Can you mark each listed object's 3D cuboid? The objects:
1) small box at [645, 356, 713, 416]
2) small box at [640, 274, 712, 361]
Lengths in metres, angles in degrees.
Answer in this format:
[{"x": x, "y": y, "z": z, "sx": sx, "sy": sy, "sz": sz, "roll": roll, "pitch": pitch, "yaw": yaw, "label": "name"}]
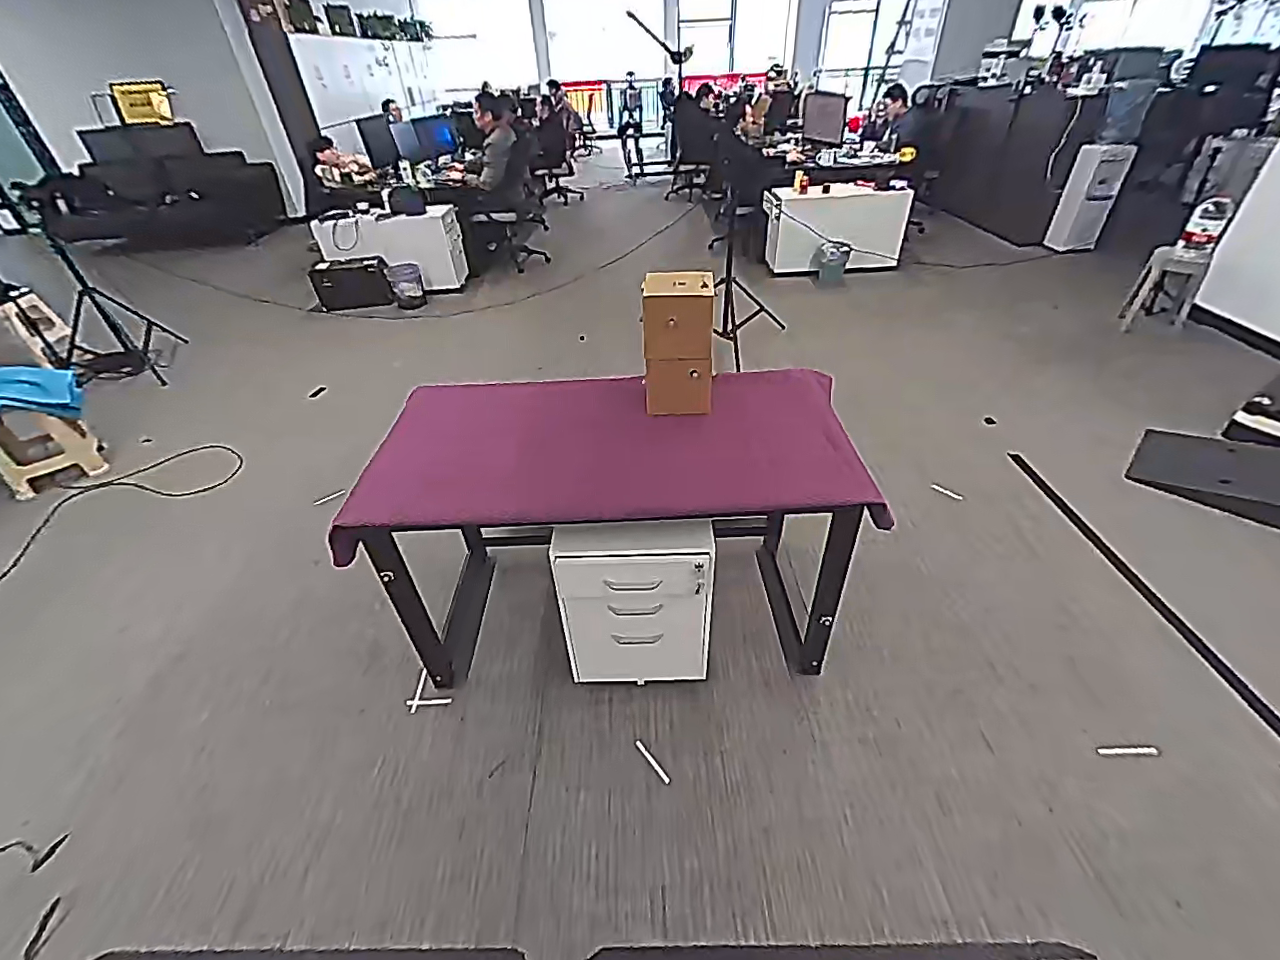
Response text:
[{"x": 0.106, "y": -0.289, "z": 1.500, "sx": 0.179, "sy": 0.176, "sz": 0.168, "roll": -1, "pitch": 39, "yaw": 4, "label": "small box"}, {"x": 0.097, "y": -0.418, "z": 1.399, "sx": 0.179, "sy": 0.176, "sz": 0.168, "roll": 0, "pitch": 39, "yaw": 5, "label": "small box"}]
